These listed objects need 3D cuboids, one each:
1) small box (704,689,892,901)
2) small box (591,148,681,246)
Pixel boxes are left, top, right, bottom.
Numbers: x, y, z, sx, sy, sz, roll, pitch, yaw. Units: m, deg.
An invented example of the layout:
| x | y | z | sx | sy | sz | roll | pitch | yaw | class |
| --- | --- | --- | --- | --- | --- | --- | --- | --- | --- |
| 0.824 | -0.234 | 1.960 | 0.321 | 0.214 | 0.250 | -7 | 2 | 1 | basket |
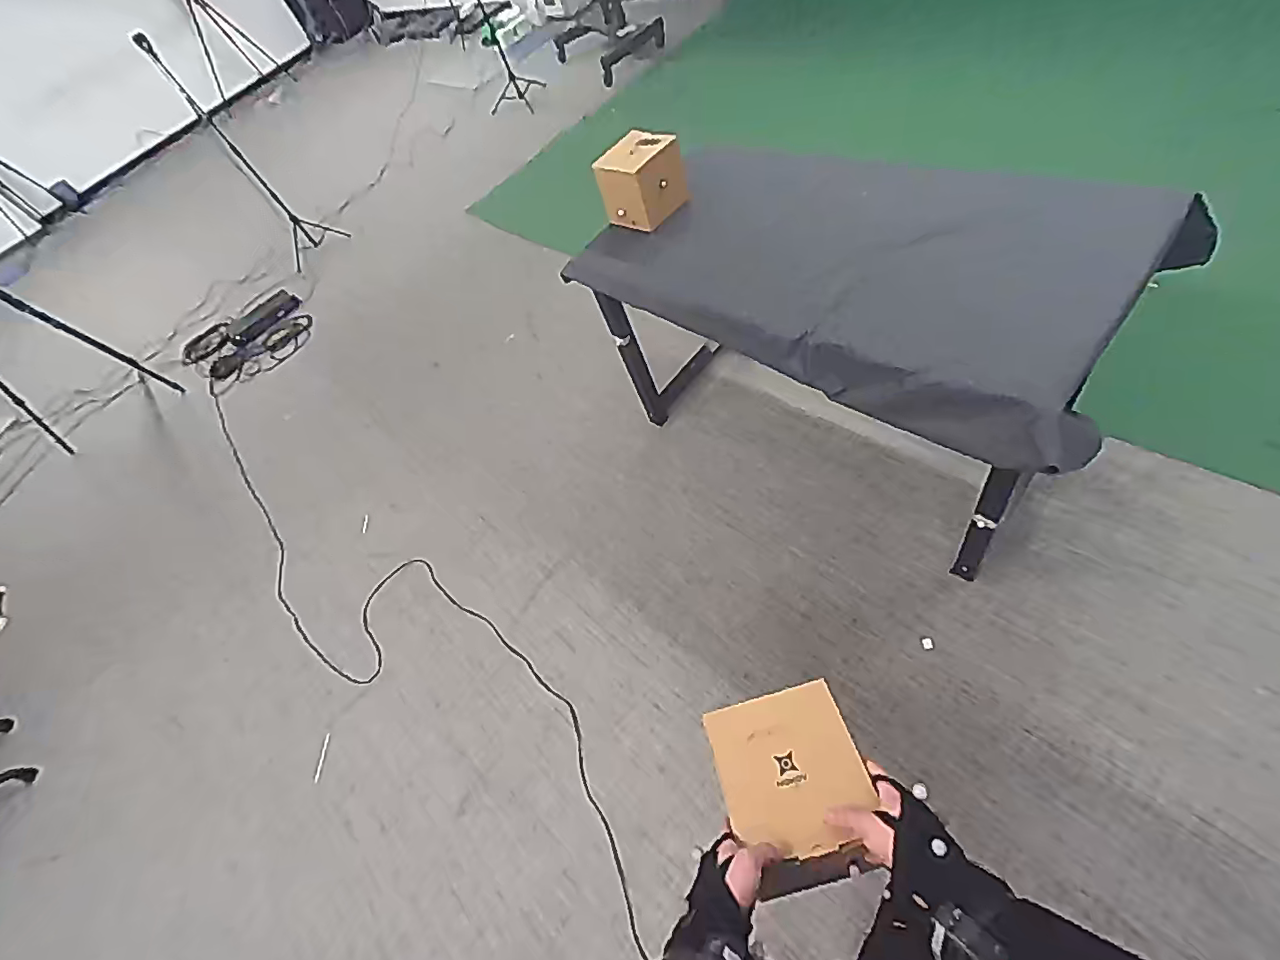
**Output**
| x | y | z | sx | sy | sz | roll | pitch | yaw | class |
| --- | --- | --- | --- | --- | --- | --- | --- | --- | --- |
| 0.194 | 0.404 | 0.685 | 0.168 | 0.176 | 0.179 | -18 | 41 | 1 | small box |
| -0.002 | -0.784 | 1.500 | 0.168 | 0.176 | 0.179 | 30 | 71 | 34 | small box |
